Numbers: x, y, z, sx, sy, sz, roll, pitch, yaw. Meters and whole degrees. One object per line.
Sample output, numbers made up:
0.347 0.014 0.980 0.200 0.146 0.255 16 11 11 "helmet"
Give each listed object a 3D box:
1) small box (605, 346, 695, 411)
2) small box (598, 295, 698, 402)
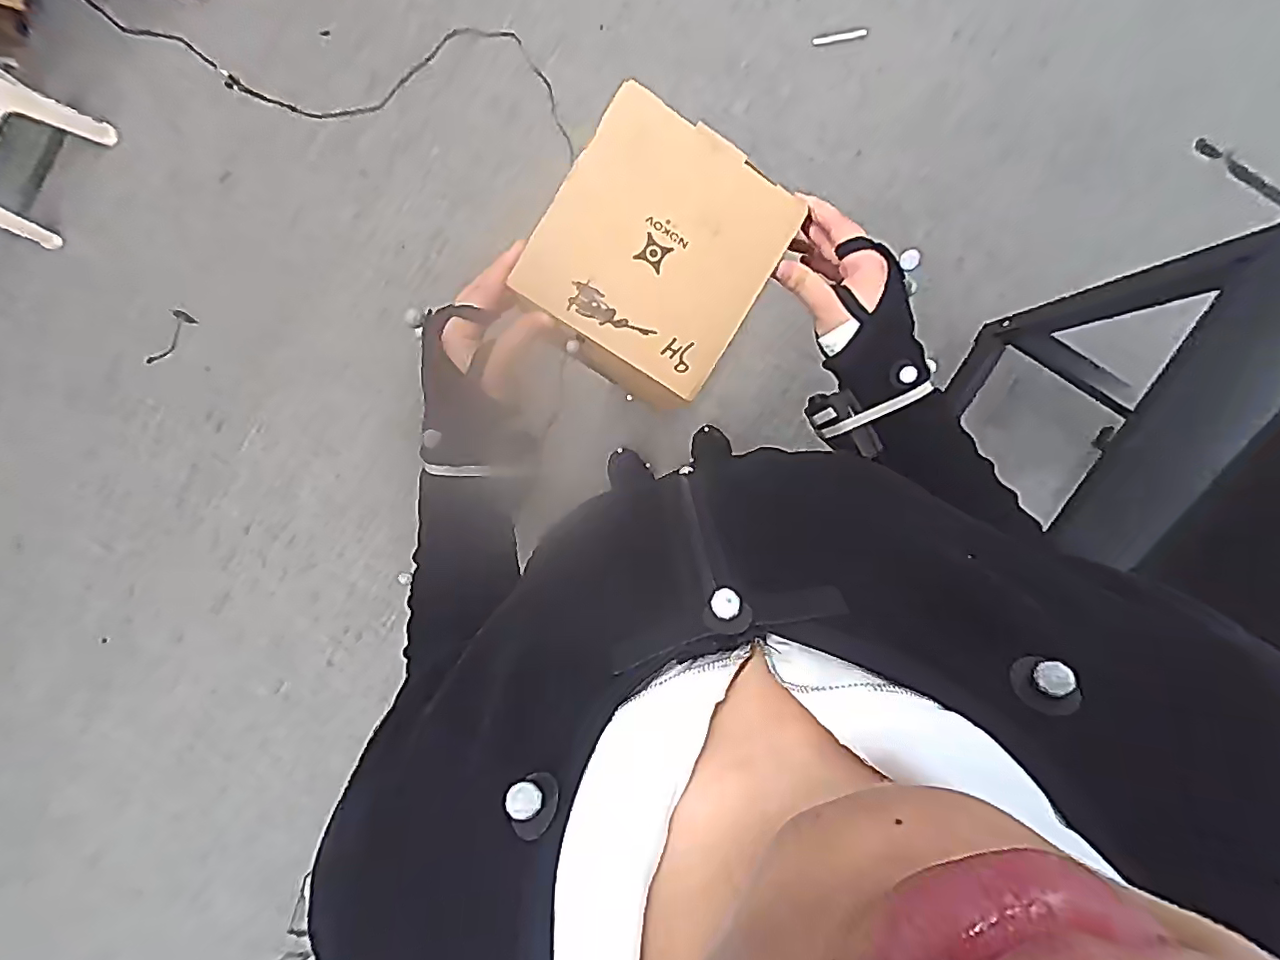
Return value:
0.026 -0.295 1.404 0.168 0.176 0.179 29 95 0 "small box"
0.020 -0.290 1.242 0.168 0.176 0.179 25 93 0 "small box"
